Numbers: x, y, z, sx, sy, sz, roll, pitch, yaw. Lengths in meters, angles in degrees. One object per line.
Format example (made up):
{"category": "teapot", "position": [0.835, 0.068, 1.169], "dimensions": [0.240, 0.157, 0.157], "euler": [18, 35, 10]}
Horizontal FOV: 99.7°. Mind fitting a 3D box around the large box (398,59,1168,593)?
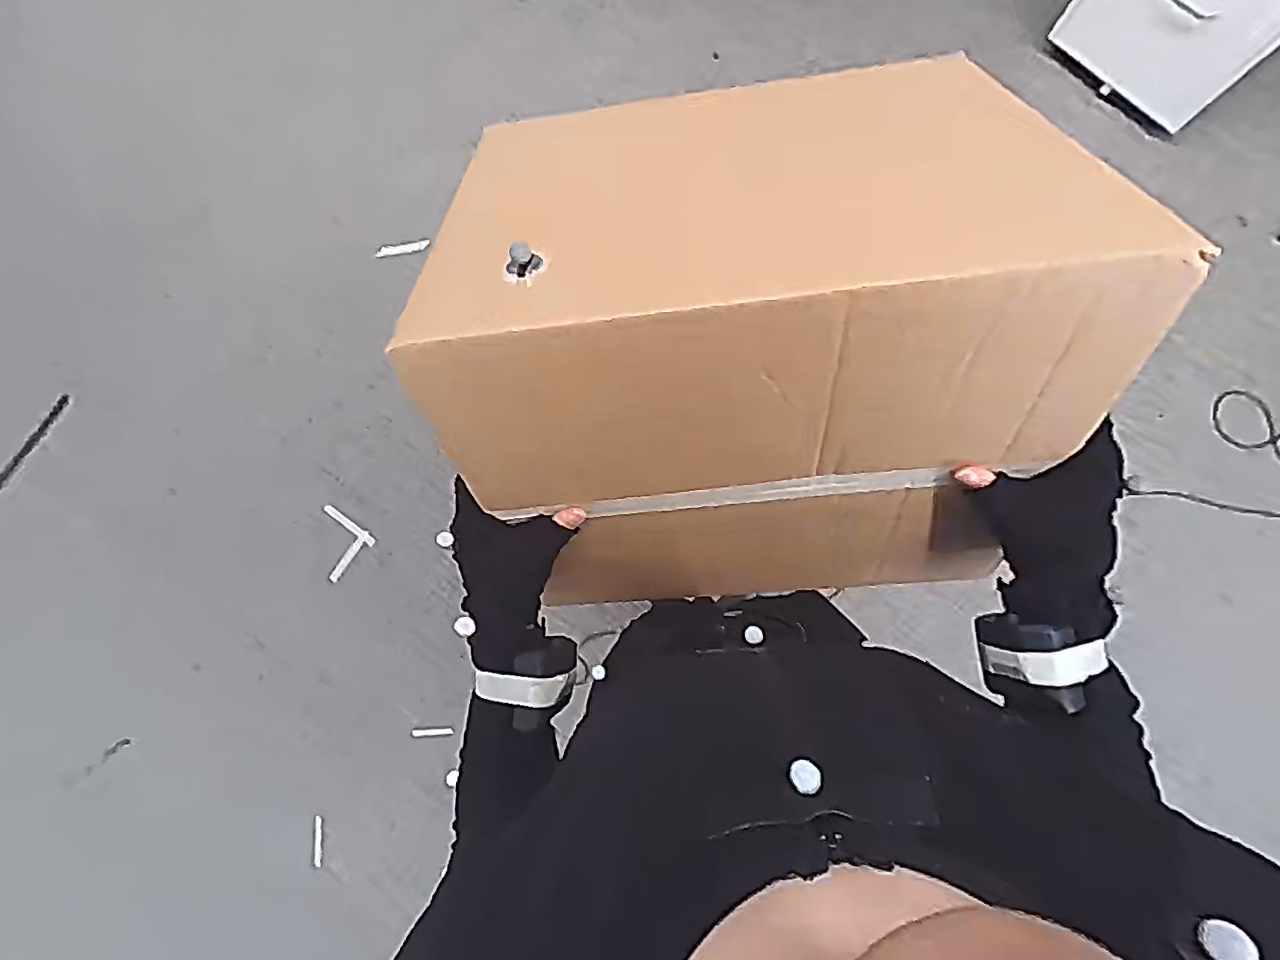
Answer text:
{"category": "large box", "position": [0.076, -0.120, 0.486], "dimensions": [0.408, 0.320, 0.320], "euler": [-6, 52, 6]}
